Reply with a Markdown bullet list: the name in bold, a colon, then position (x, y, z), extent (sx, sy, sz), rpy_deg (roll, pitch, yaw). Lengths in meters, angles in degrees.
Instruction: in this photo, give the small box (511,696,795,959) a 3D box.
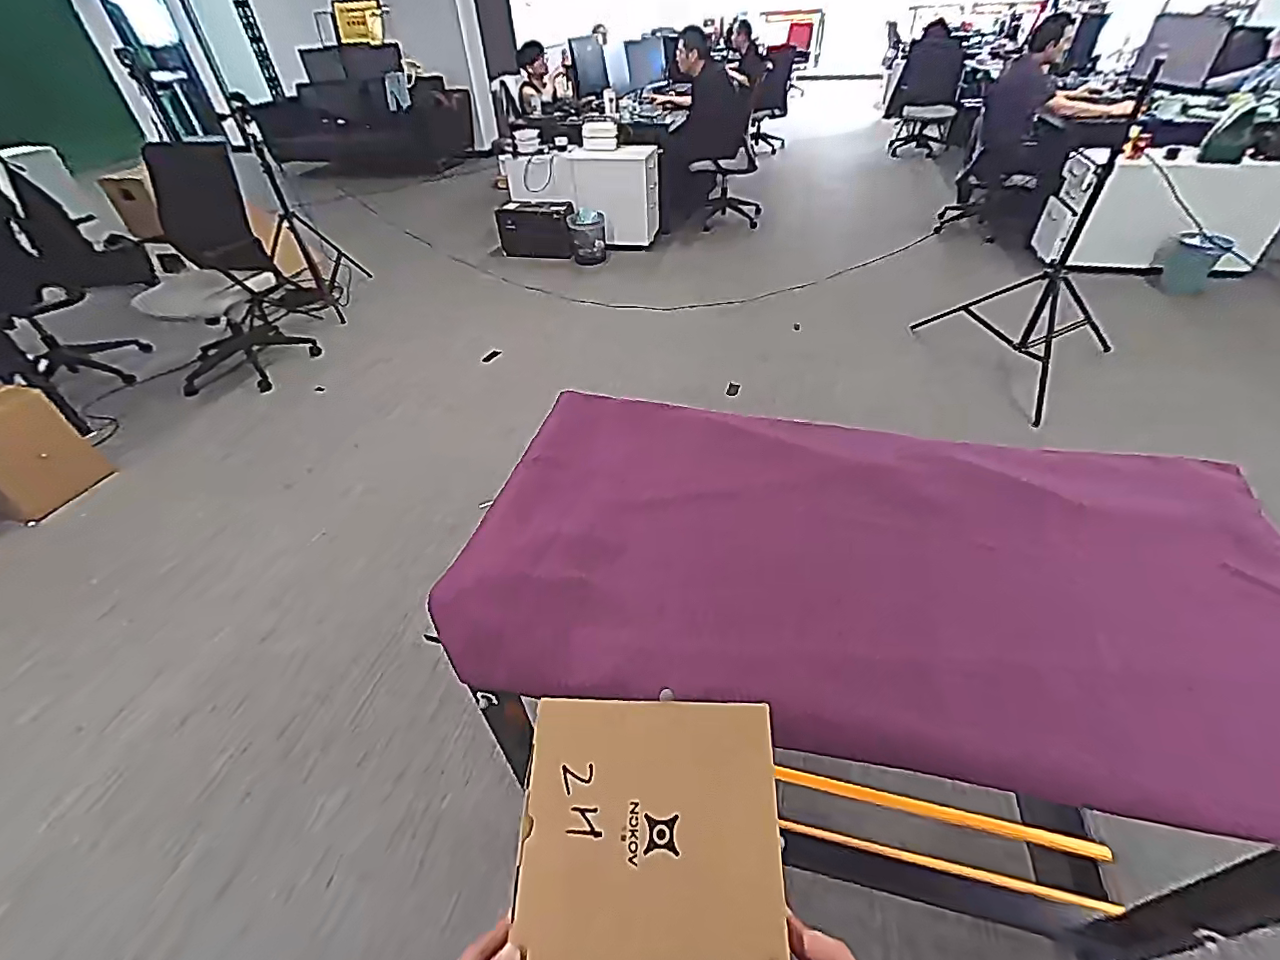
- **small box**: position (0.014, 0.278, 0.433), extent (0.179, 0.176, 0.168), rpy_deg (0, 57, 4)
